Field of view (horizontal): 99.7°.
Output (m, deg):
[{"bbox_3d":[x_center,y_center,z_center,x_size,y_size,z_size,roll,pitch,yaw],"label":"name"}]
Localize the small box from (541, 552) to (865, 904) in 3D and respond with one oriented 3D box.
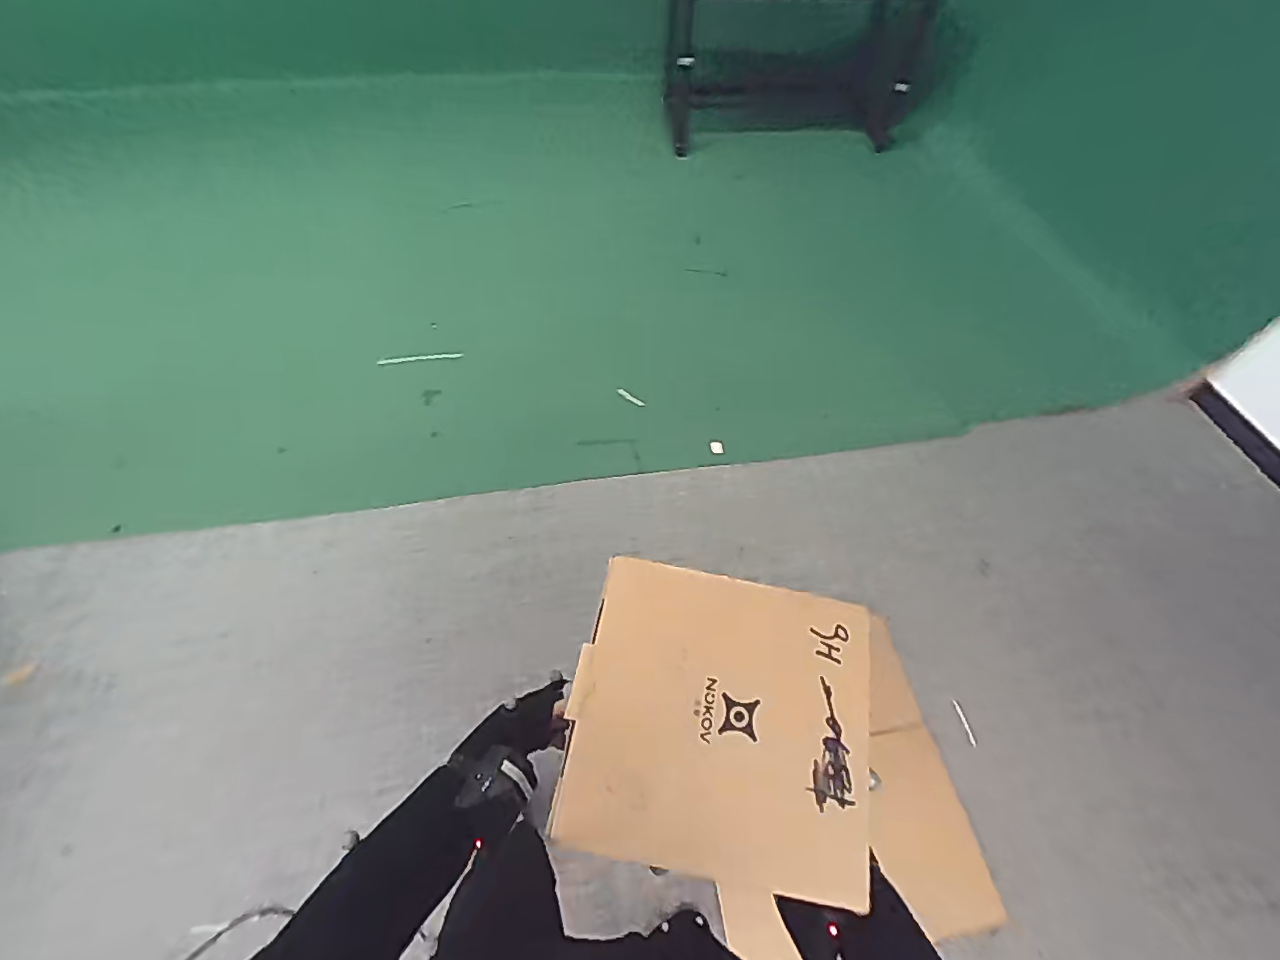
[{"bbox_3d":[0.042,0.171,0.390,0.179,0.176,0.168,11,62,2],"label":"small box"}]
